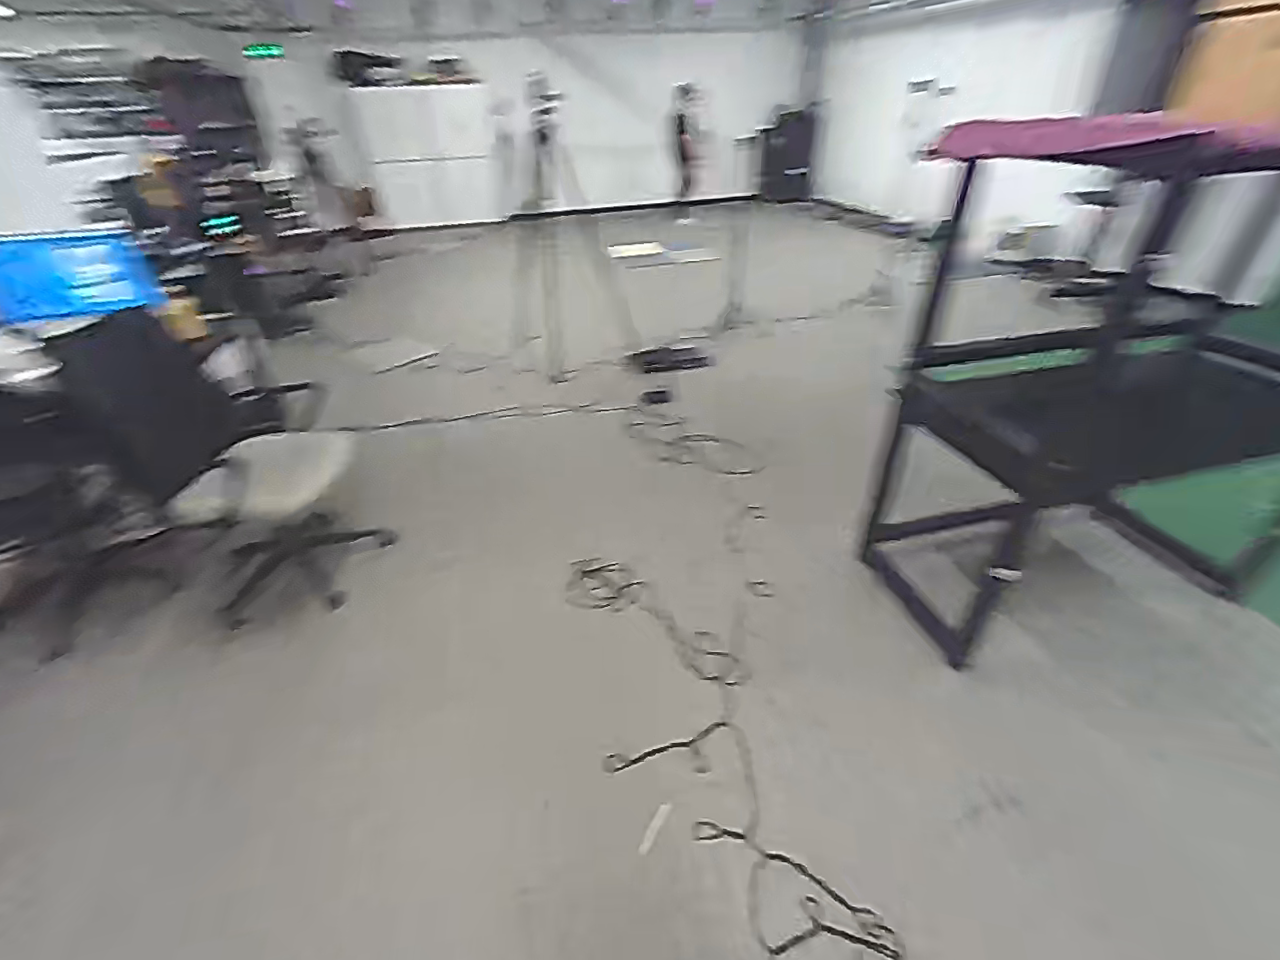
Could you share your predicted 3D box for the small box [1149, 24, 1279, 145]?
[{"bbox_3d":[1.102,-0.710,0.977,0.168,0.176,0.179,-10,35,-13],"label":"small box"}]
